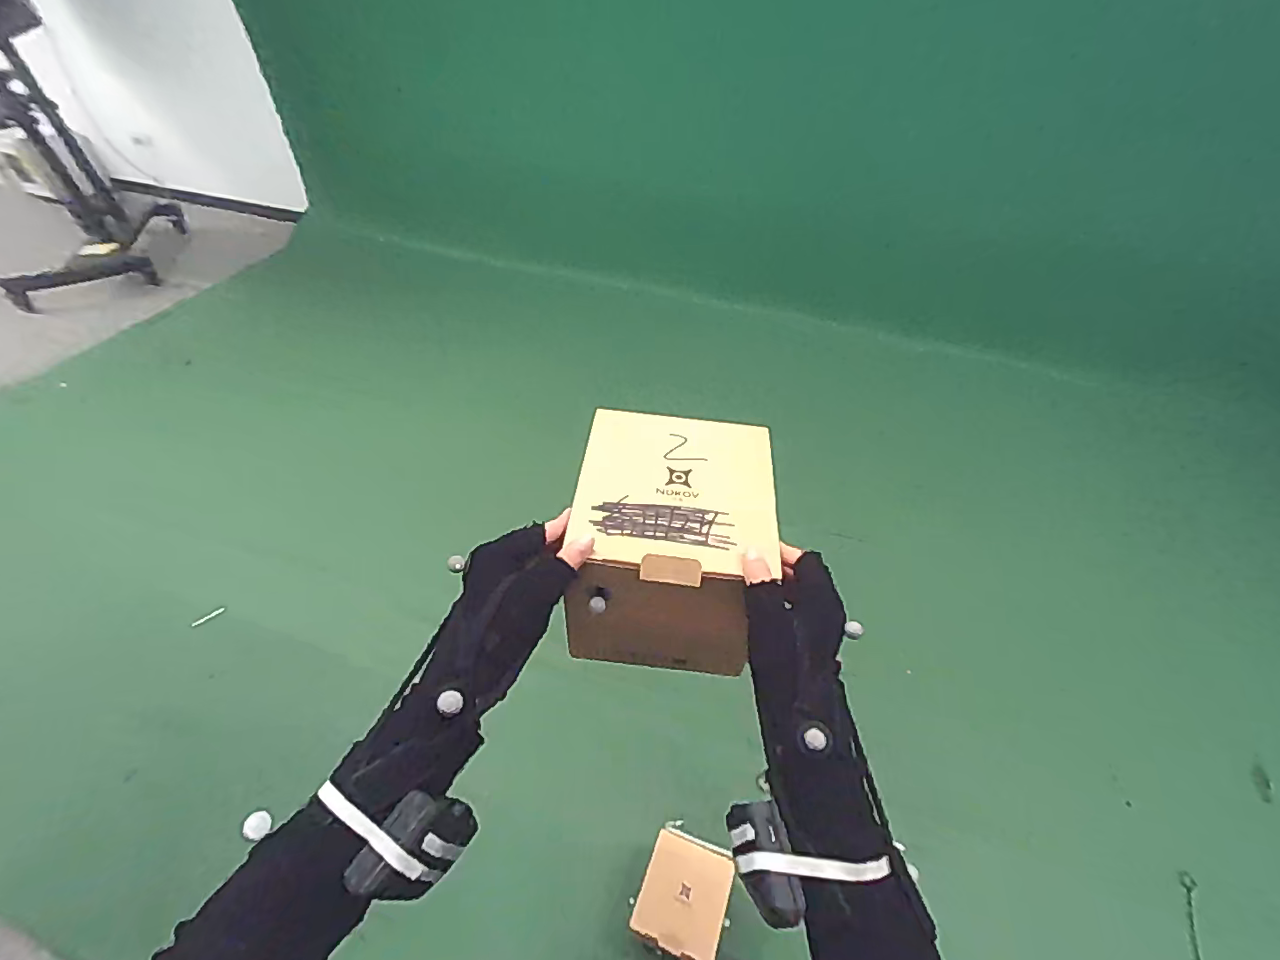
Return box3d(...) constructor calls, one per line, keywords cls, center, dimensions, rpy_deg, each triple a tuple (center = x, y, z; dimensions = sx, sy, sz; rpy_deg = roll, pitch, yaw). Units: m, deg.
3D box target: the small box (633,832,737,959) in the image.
box3d(cls="small box", center=(0.088, 0.871, 1.113), dimensions=(0.168, 0.176, 0.179), rpy_deg=(17, 48, 14))
